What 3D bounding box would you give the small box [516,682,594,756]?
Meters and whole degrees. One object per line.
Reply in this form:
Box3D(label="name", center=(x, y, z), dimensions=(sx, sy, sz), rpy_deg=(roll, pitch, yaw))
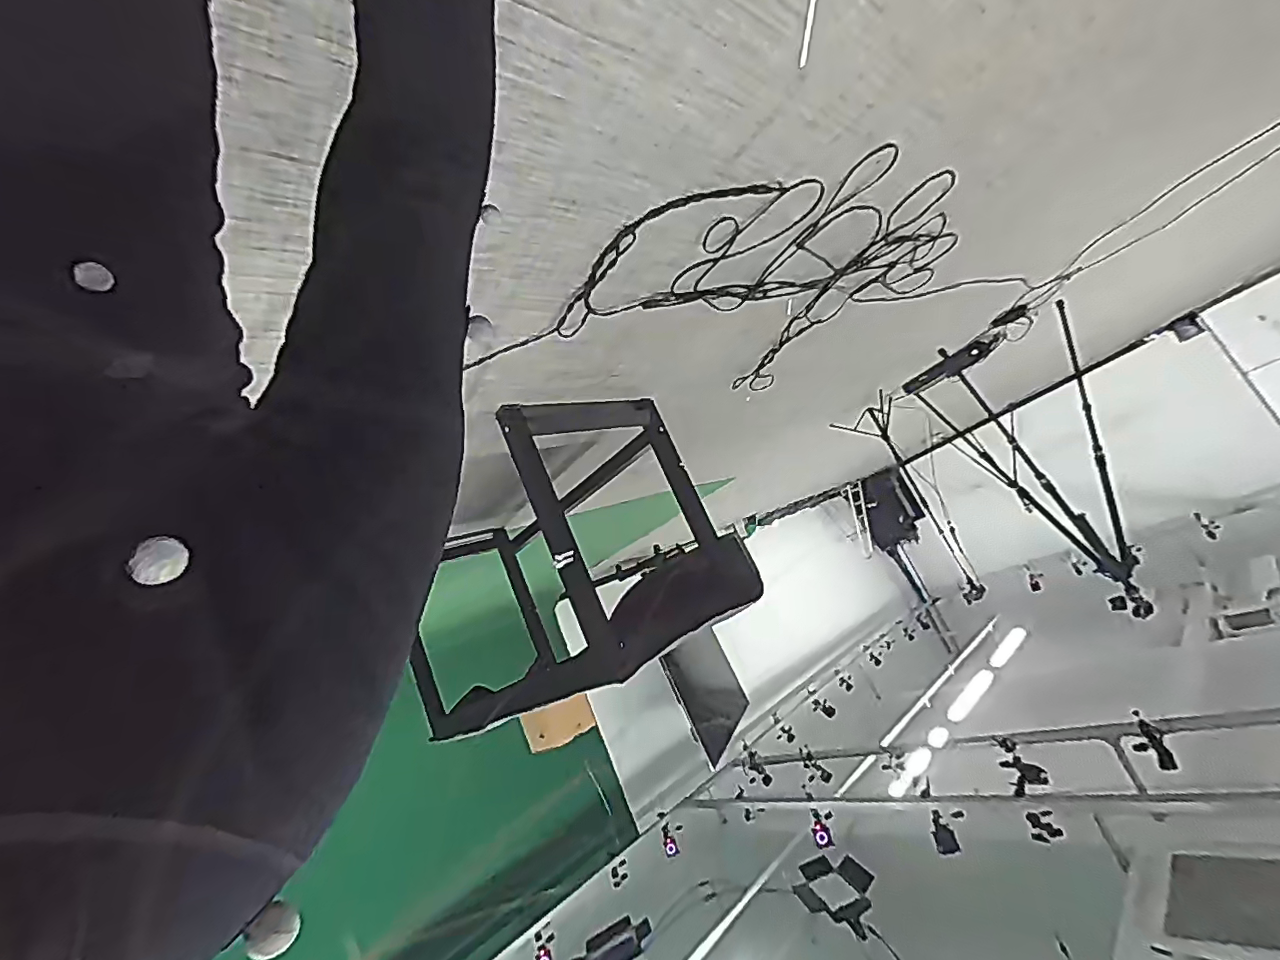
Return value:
Box3D(label="small box", center=(-0.293, 0.802, 1.827), dimensions=(0.168, 0.176, 0.179), rpy_deg=(-10, 161, -46))
